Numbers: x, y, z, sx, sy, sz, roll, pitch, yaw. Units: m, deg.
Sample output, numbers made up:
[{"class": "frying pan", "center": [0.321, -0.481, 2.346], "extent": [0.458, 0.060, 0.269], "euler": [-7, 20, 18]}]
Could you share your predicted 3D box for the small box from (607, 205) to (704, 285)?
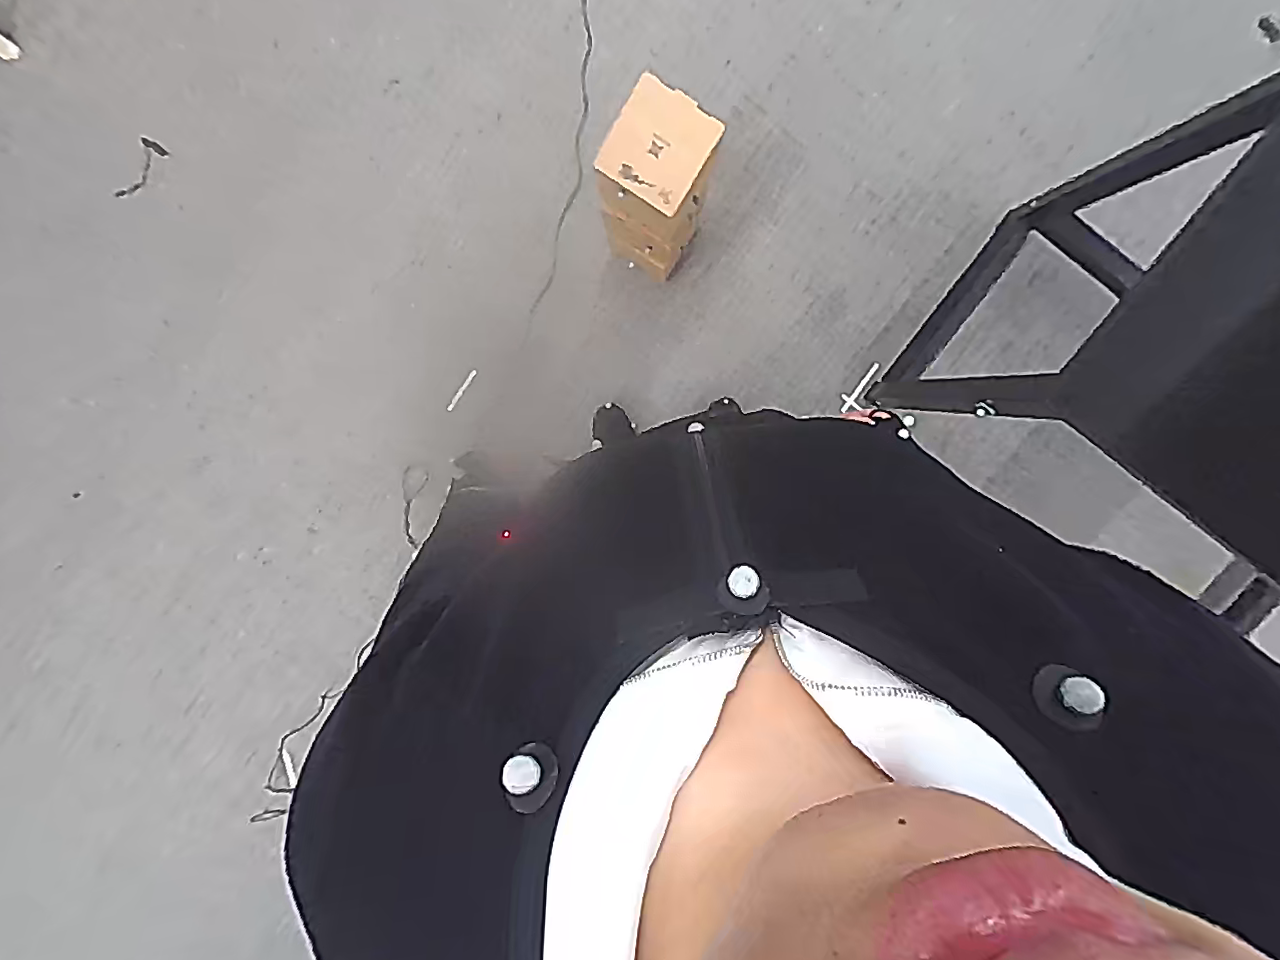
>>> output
[{"class": "small box", "center": [0.037, -0.610, 1.328], "extent": [0.168, 0.176, 0.179], "euler": [32, 99, -3]}]

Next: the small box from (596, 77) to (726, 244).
[{"class": "small box", "center": [0.035, -0.577, 1.002], "extent": [0.168, 0.176, 0.179], "euler": [32, 98, -3]}]

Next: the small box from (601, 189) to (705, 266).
[{"class": "small box", "center": [0.033, -0.592, 1.166], "extent": [0.168, 0.176, 0.179], "euler": [29, 97, -3]}]
